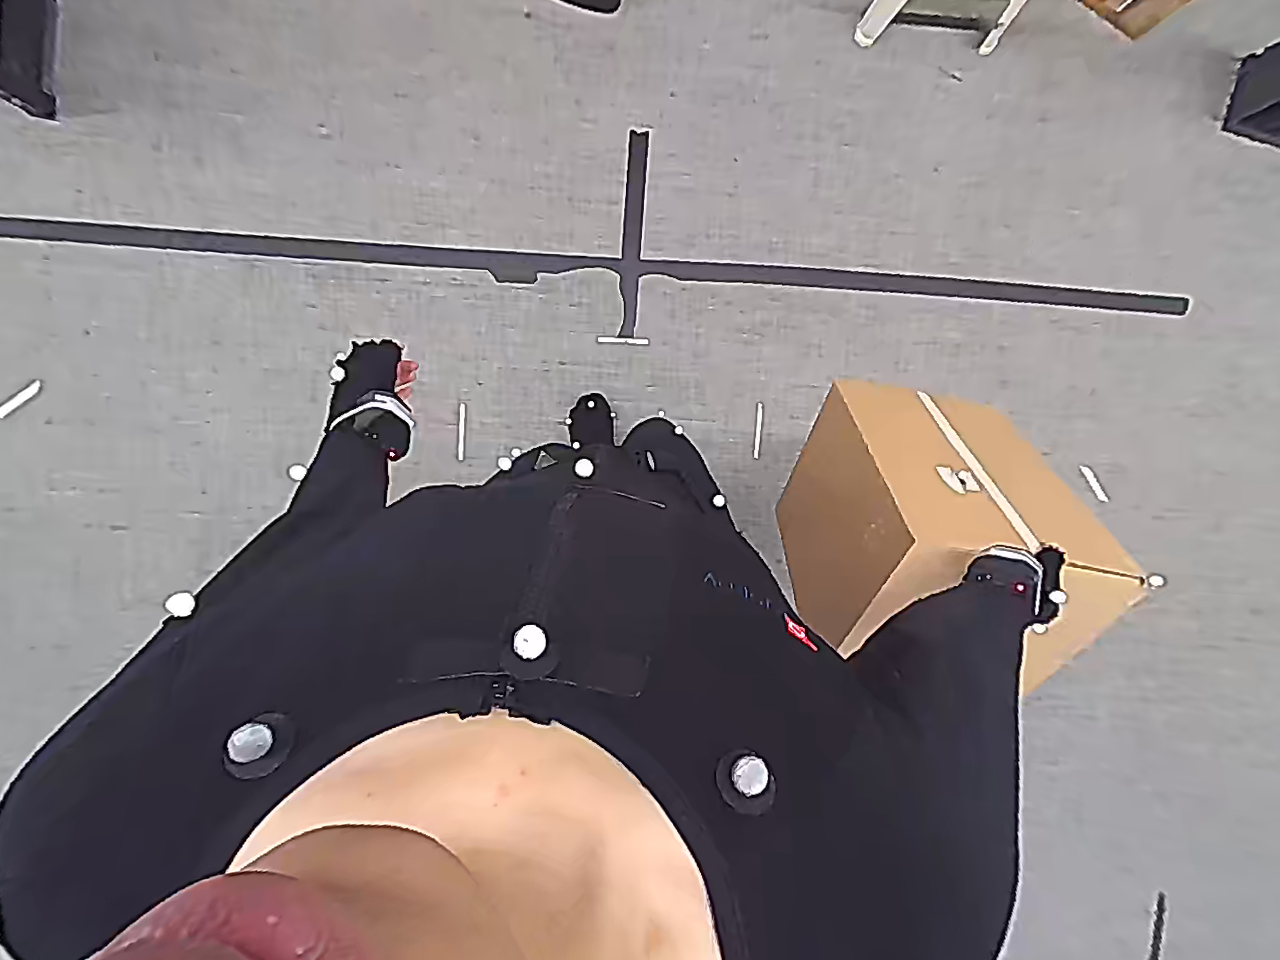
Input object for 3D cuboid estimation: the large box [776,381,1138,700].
[{"bbox_3d":[0.454,0.089,0.908,0.320,0.408,0.320,10,129,-5],"label":"large box"}]
